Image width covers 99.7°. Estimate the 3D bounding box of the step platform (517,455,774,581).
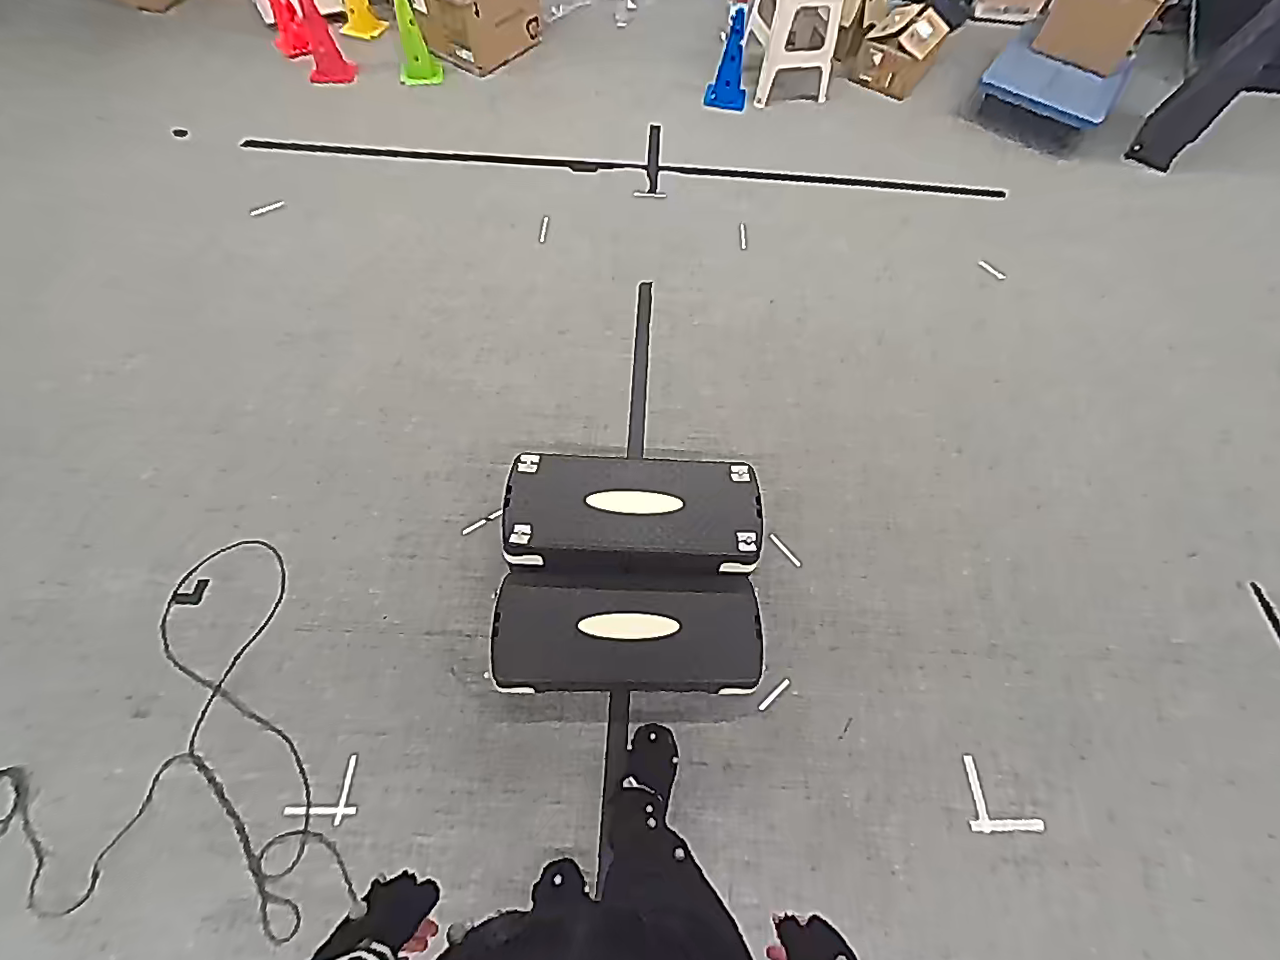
[{"bbox_3d":[0.014,0.101,1.474,0.684,0.204,0.286,3,61,-3],"label":"step platform"}]
